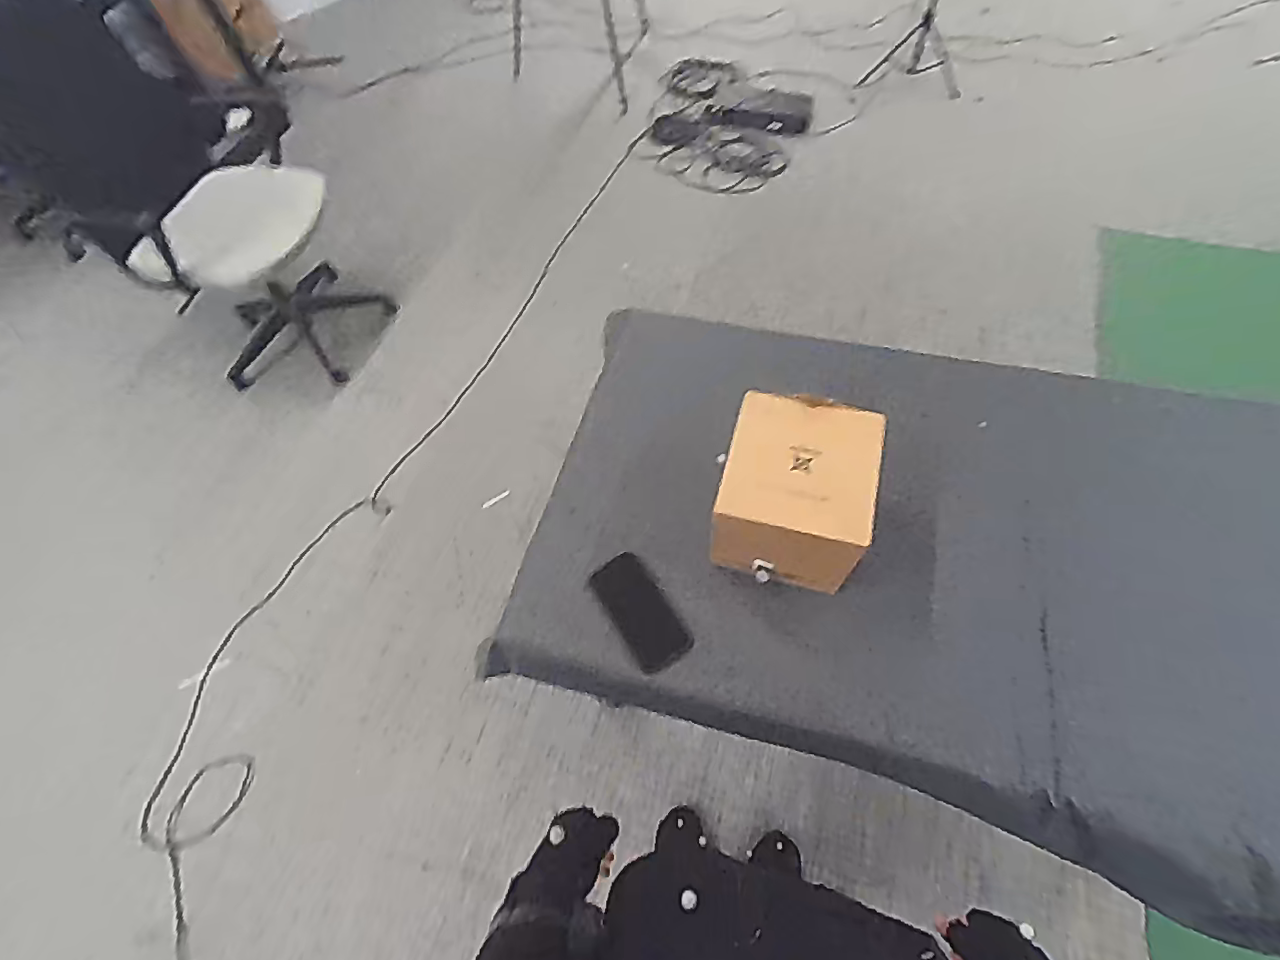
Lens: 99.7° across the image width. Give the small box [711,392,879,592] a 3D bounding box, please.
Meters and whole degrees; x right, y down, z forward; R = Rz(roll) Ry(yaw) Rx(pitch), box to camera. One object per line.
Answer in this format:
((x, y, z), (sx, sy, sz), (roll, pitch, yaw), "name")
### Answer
((0.187, 0.019, 0.684), (0.168, 0.176, 0.179), (12, 63, 13), "small box")
